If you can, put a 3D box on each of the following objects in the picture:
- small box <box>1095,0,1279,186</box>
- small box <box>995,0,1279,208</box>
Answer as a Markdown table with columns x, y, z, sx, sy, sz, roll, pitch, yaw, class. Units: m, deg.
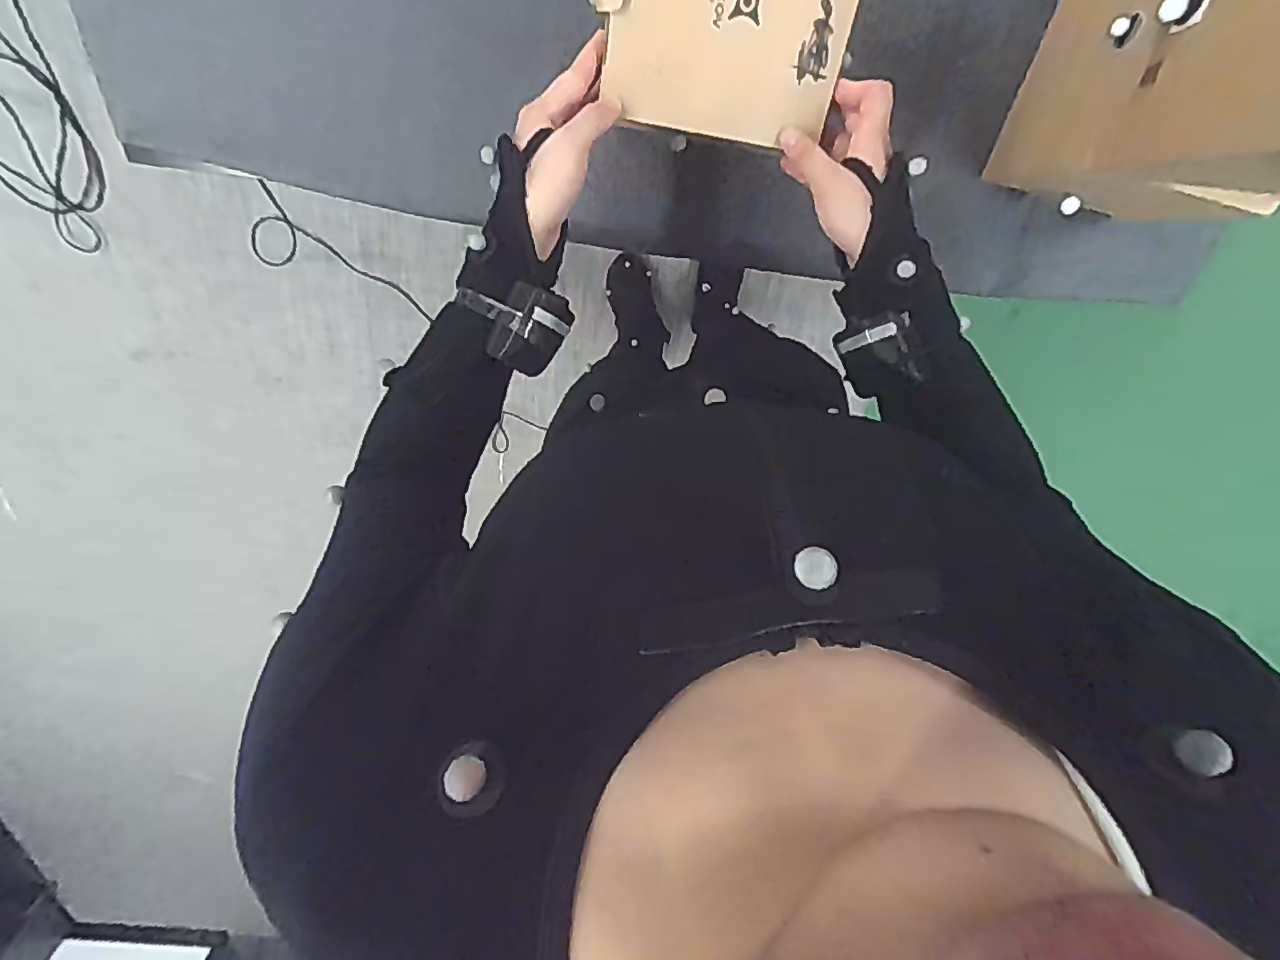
| x | y | z | sx | sy | sz | roll | pitch | yaw | class |
| --- | --- | --- | --- | --- | --- | --- | --- | --- | --- |
| 0.442 | -0.276 | 0.318 | 0.179 | 0.176 | 0.168 | 5 | 115 | 0 | small box |
| 0.455 | -0.348 | 0.463 | 0.168 | 0.176 | 0.179 | 12 | 117 | -5 | small box |
